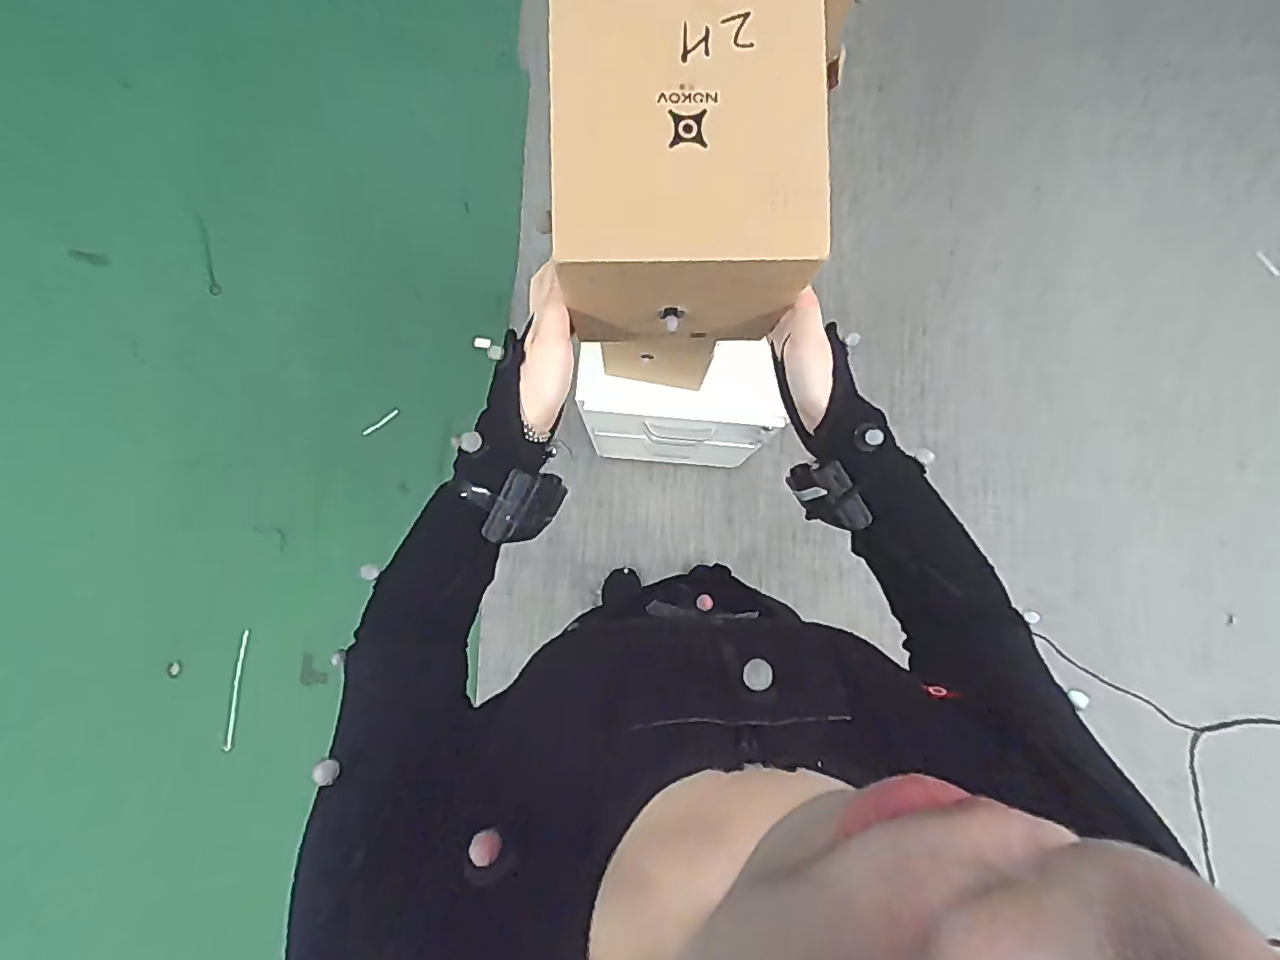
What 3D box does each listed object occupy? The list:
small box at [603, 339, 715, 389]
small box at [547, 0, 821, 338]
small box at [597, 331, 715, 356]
[{"bbox_3d":[0.036,-0.263,0.899,0.179,0.176,0.168,11,81,0],"label":"small box"},{"bbox_3d":[0.025,-0.212,0.402,0.168,0.176,0.179,-1,87,-2],"label":"small box"},{"bbox_3d":[0.034,-0.284,0.738,0.179,0.176,0.168,10,80,2],"label":"small box"}]
